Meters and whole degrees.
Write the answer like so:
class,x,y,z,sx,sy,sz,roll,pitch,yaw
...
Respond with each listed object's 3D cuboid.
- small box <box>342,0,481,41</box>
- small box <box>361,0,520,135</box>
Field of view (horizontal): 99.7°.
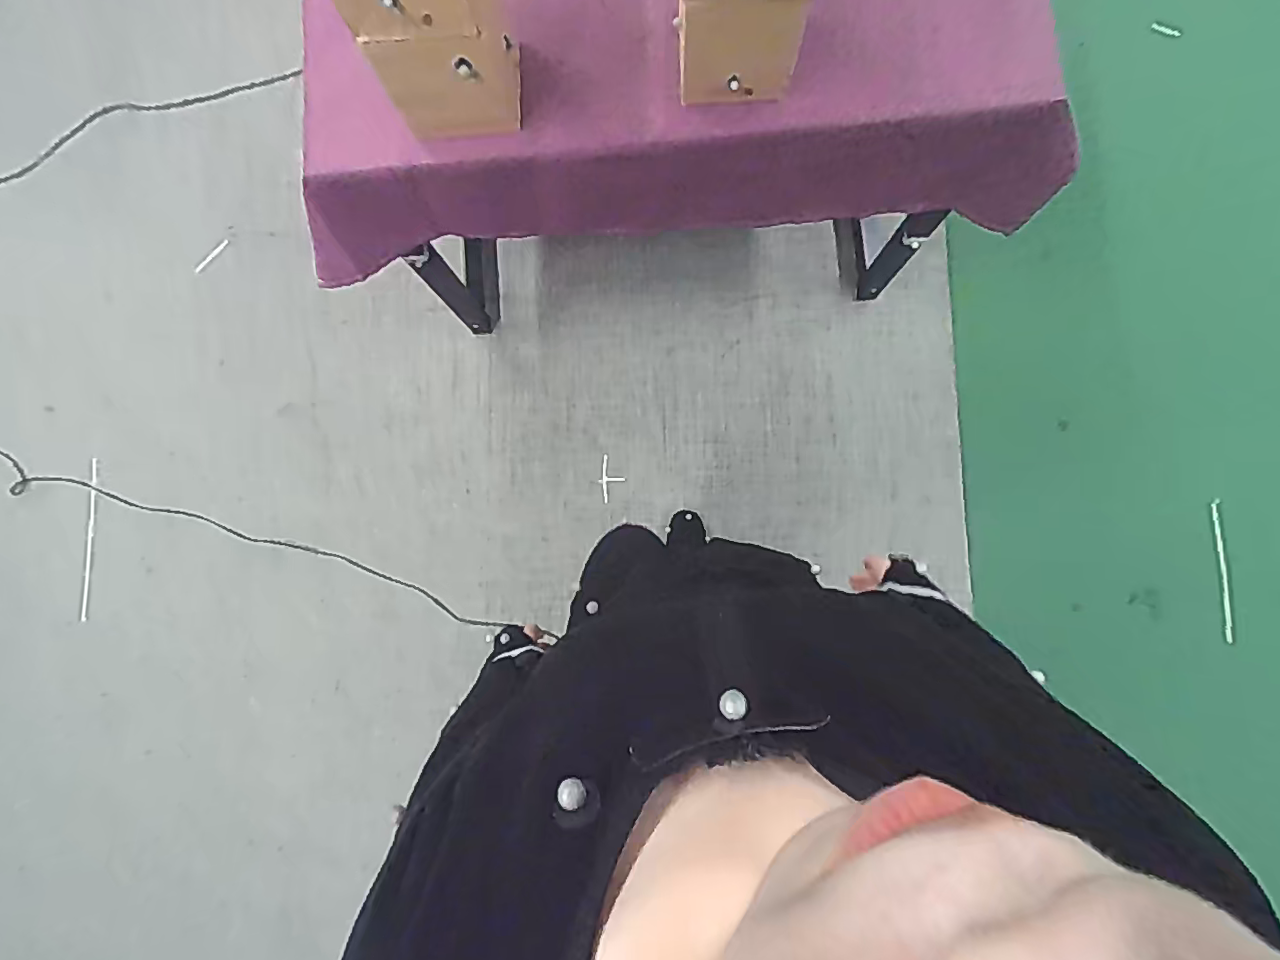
class,x,y,z,sx,sy,sz,roll,pitch,yaw
small box,-0.293,-0.673,0.639,0.168,0.176,0.179,-1,84,3
small box,-0.282,-0.646,0.800,0.179,0.176,0.168,-2,83,3
